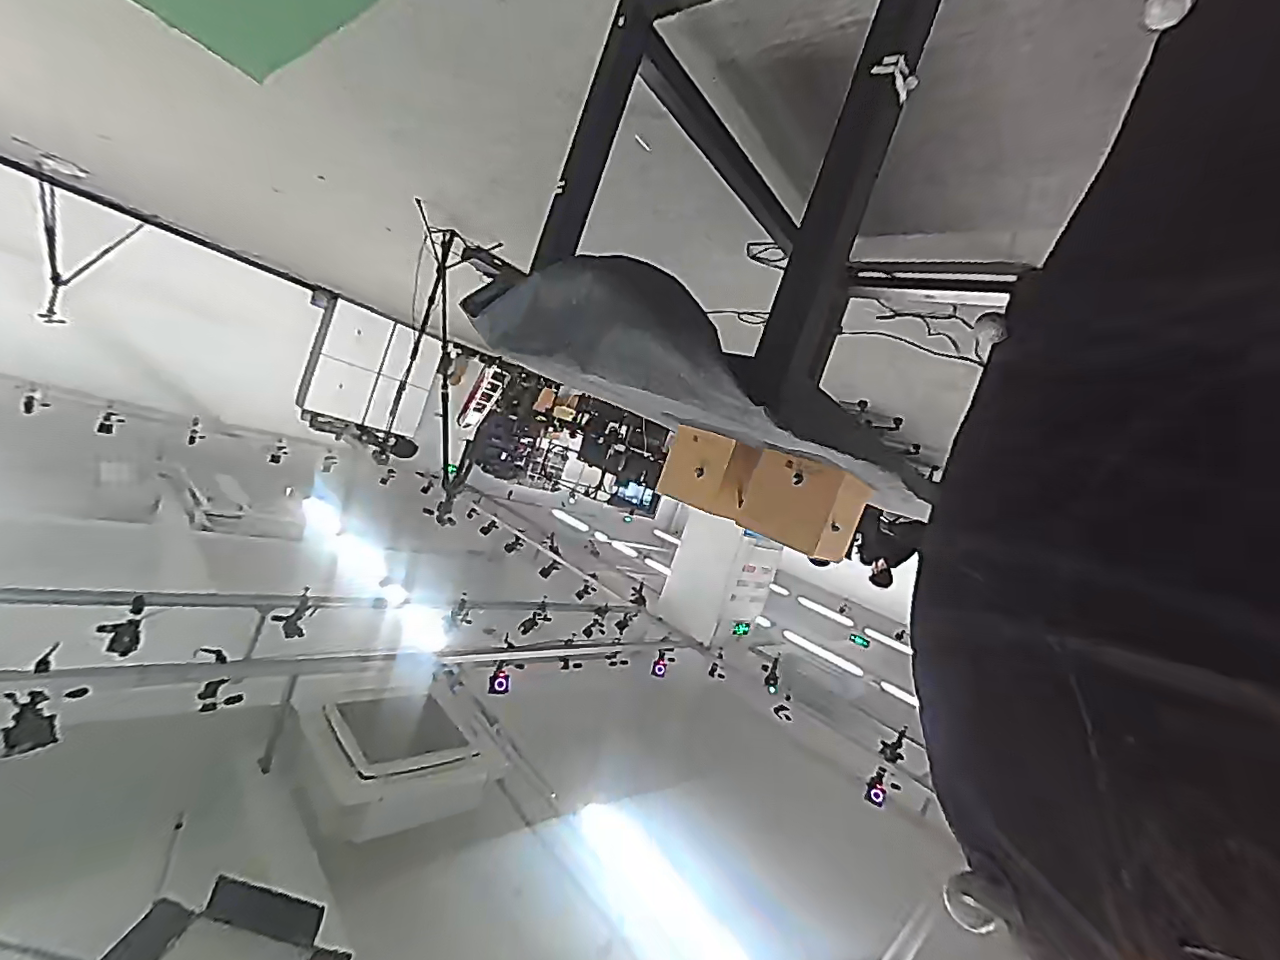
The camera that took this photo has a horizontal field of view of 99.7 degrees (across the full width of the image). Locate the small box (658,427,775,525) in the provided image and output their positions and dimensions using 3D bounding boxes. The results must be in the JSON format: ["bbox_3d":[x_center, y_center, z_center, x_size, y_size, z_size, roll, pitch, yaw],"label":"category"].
[{"bbox_3d":[0.174,-0.013,1.214,0.168,0.176,0.179,21,-176,44],"label":"small box"}]
